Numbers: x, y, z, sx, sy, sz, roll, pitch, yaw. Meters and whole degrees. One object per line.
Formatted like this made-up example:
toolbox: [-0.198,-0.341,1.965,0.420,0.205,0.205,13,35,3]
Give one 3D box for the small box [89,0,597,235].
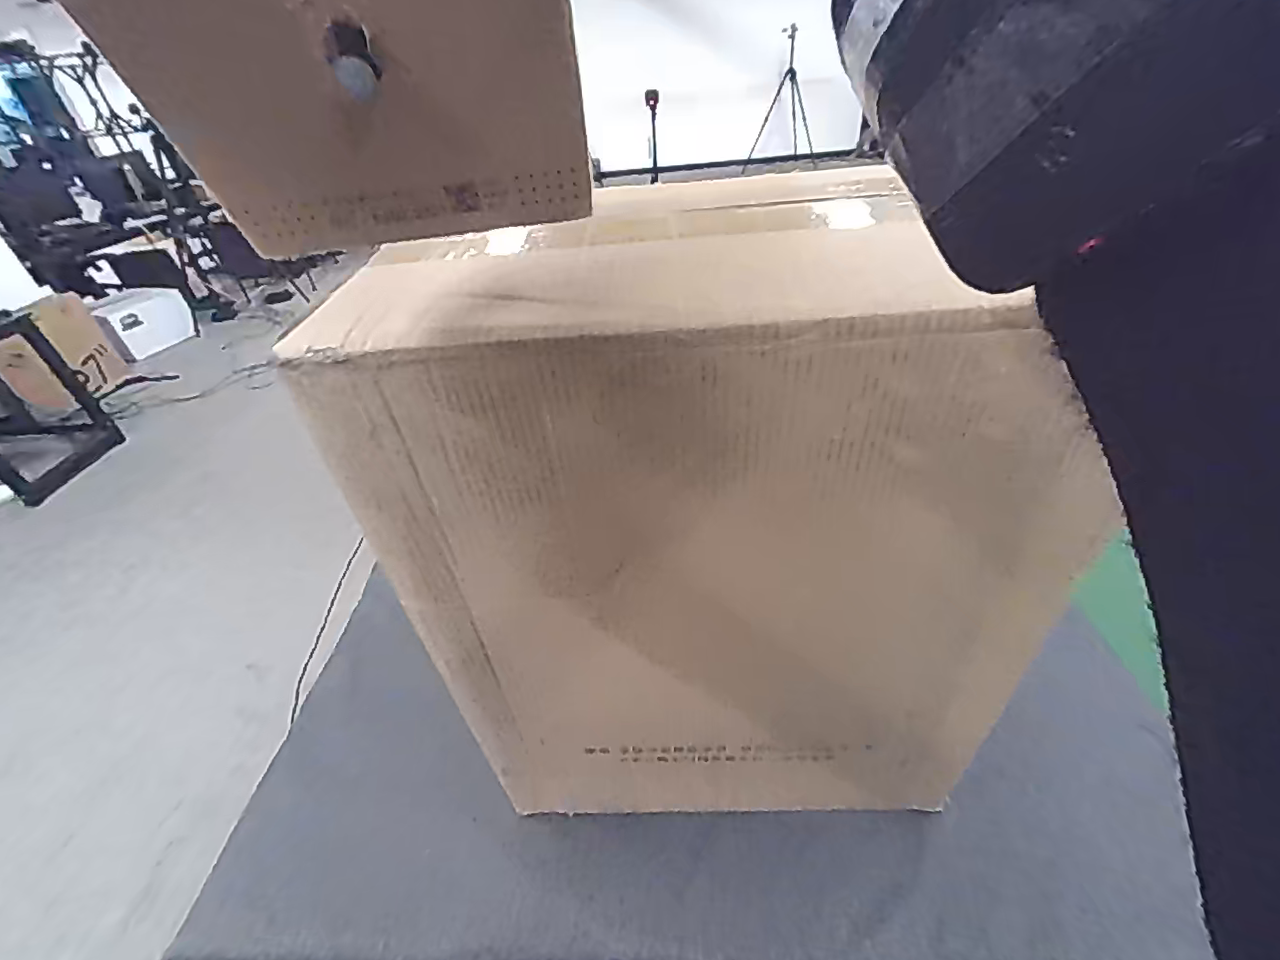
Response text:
small box: [-0.114,-0.231,0.238,0.168,0.176,0.179,-8,64,-3]
